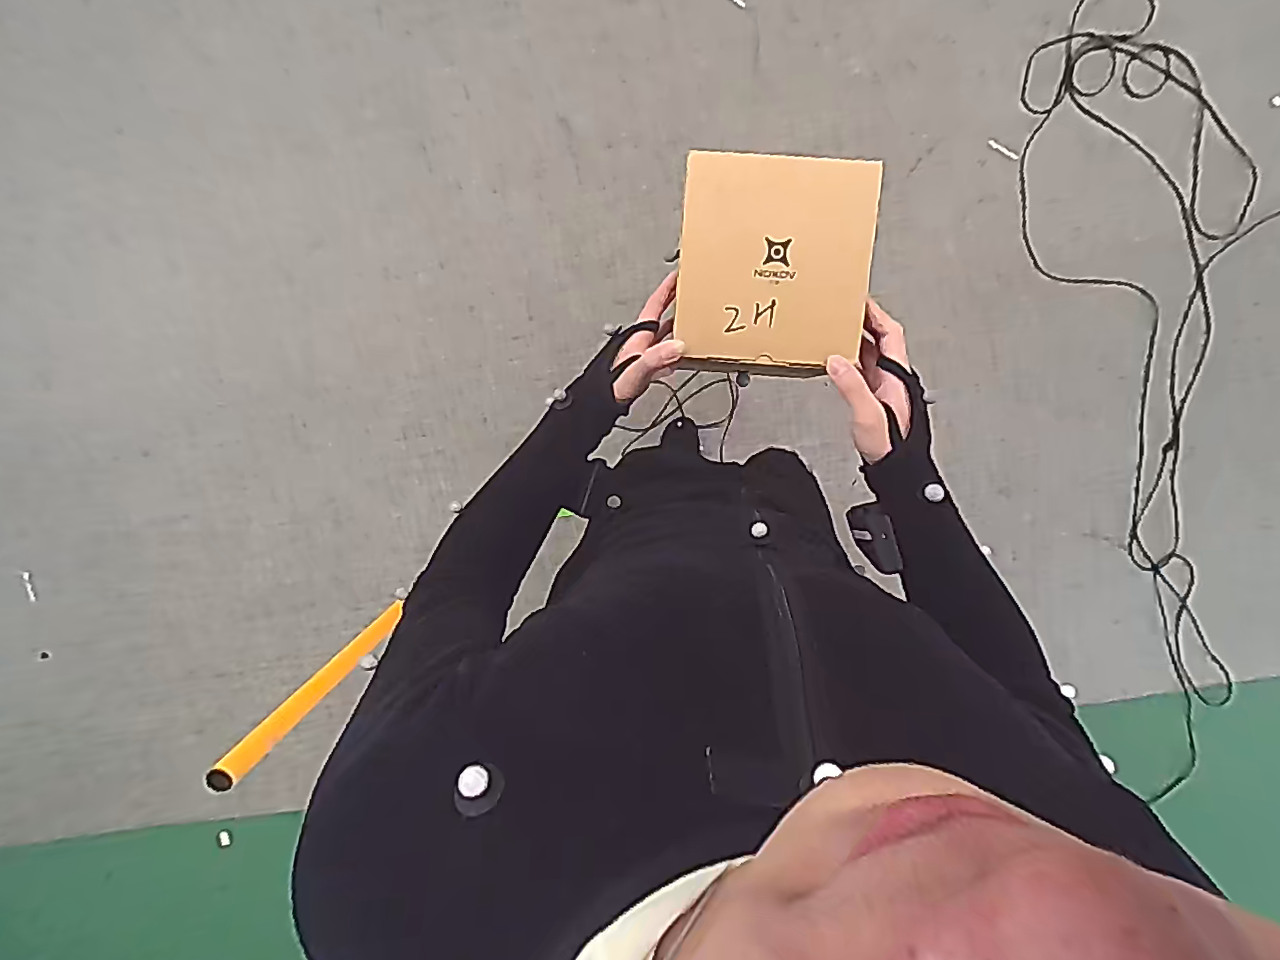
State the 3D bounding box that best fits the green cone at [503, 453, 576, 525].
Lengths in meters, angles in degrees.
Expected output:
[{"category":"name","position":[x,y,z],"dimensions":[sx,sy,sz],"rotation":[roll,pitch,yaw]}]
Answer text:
[{"category":"green cone","position":[-0.300,0.049,1.436],"dimensions":[0.202,0.368,0.200],"rotation":[-8,97,1]}]
